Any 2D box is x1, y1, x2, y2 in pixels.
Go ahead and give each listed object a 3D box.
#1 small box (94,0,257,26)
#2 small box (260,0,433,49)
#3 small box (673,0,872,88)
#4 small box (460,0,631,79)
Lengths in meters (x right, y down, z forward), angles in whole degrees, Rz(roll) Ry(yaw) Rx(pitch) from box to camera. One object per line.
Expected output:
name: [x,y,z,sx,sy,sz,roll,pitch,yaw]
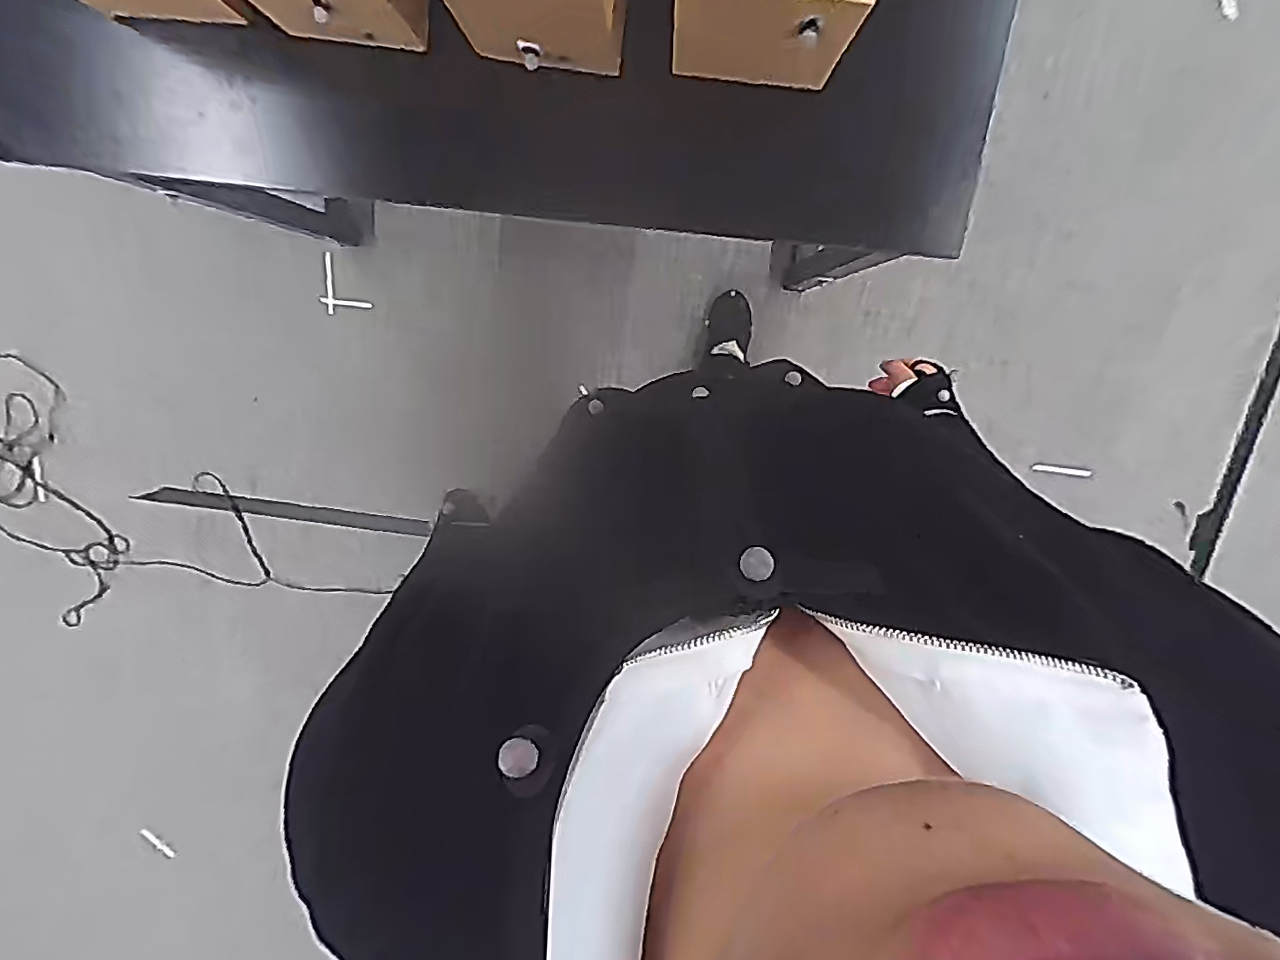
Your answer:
small box: [-0.533,-0.598,0.542,0.179,0.176,0.168,4,104,0]
small box: [-0.319,-0.575,0.541,0.168,0.176,0.179,7,105,1]
small box: [0.130,-0.523,0.537,0.179,0.176,0.168,7,104,0]
small box: [-0.095,-0.548,0.542,0.168,0.176,0.179,7,105,2]
